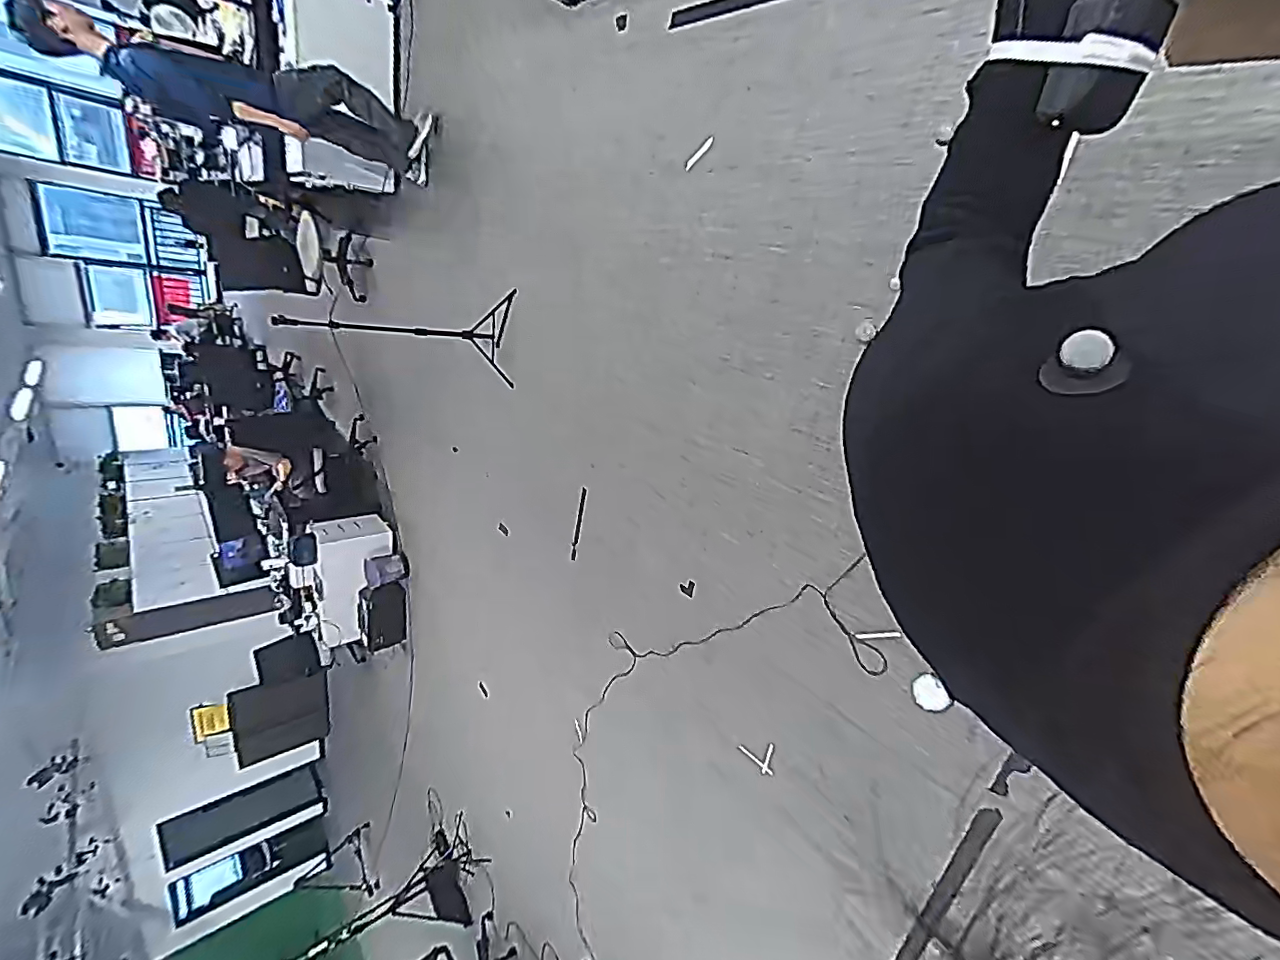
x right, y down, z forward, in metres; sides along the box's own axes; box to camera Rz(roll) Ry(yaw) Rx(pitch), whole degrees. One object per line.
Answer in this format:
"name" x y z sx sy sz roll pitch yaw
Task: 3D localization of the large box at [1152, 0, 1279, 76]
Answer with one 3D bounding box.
"large box" 0.536 -0.410 0.225 0.408 0.320 0.320 25 124 36
